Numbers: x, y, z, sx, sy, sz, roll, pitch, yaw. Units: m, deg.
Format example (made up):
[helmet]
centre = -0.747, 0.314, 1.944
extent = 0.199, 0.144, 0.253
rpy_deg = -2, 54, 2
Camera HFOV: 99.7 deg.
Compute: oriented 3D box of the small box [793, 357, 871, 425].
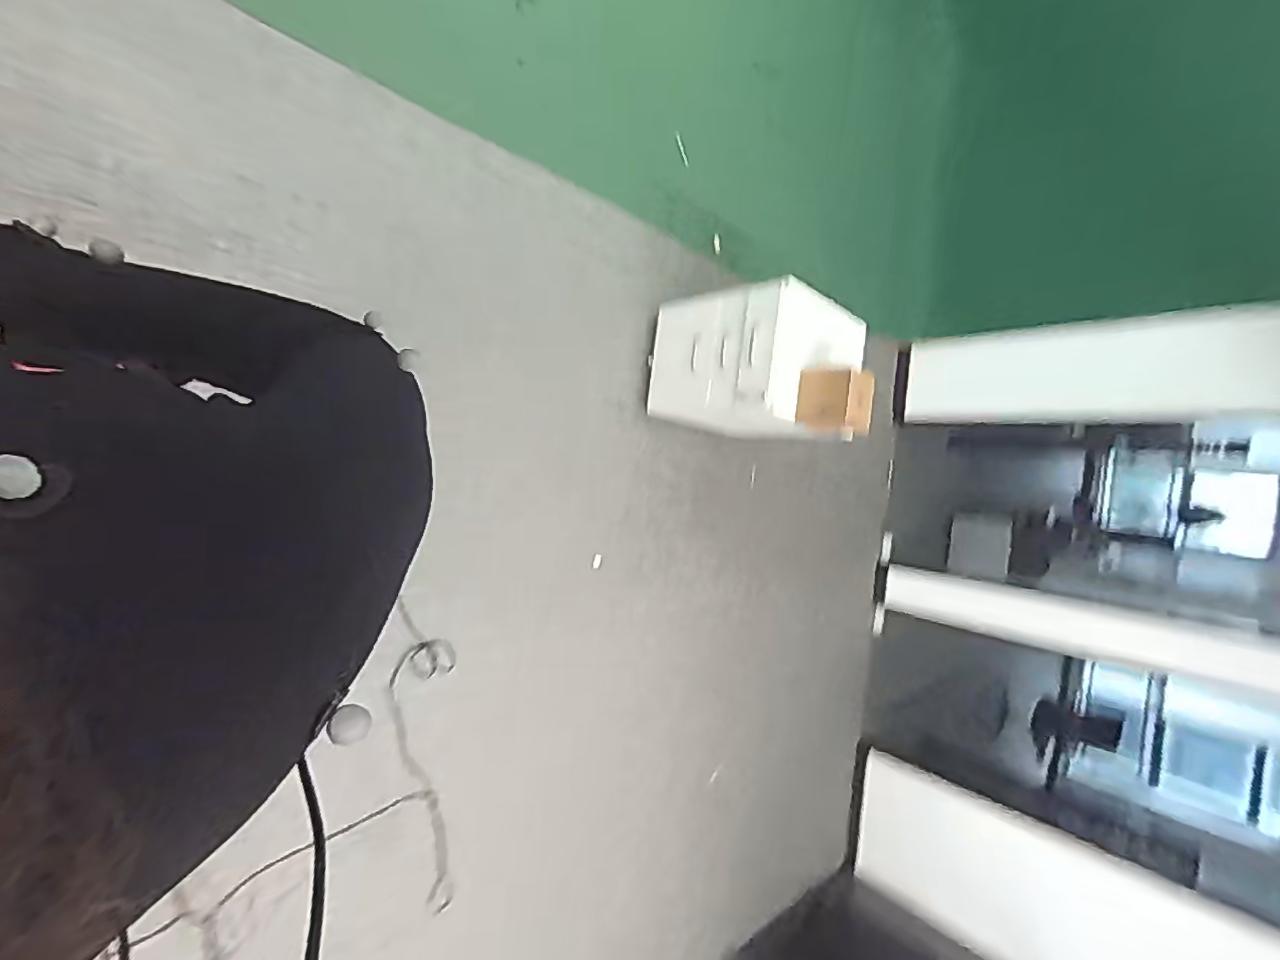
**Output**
[small box]
centre = 0.593, -0.270, 1.676
extent = 0.168, 0.176, 0.179
rpy_deg = 7, 88, -44
